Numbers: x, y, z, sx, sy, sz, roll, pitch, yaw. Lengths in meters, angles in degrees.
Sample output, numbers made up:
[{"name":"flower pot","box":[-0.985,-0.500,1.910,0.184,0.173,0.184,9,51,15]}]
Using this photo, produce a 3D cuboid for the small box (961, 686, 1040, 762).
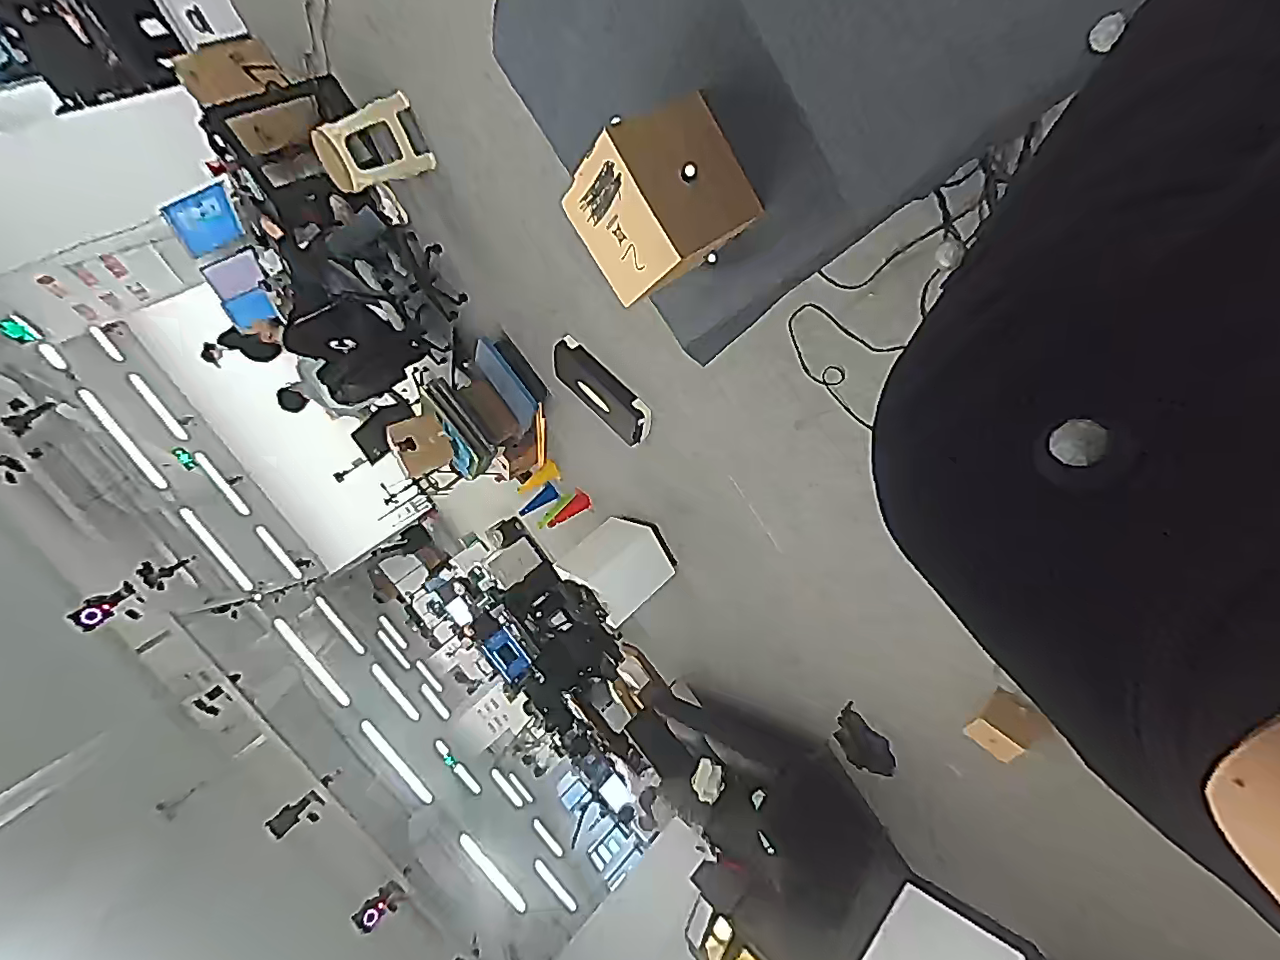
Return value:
[{"name":"small box","box":[1.345,0.907,2.016,0.168,0.176,0.179,35,151,30]}]

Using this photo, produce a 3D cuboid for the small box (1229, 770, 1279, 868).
[{"name":"small box","box":[1.684,0.886,1.385,0.168,0.176,0.179,54,157,-7]}]
